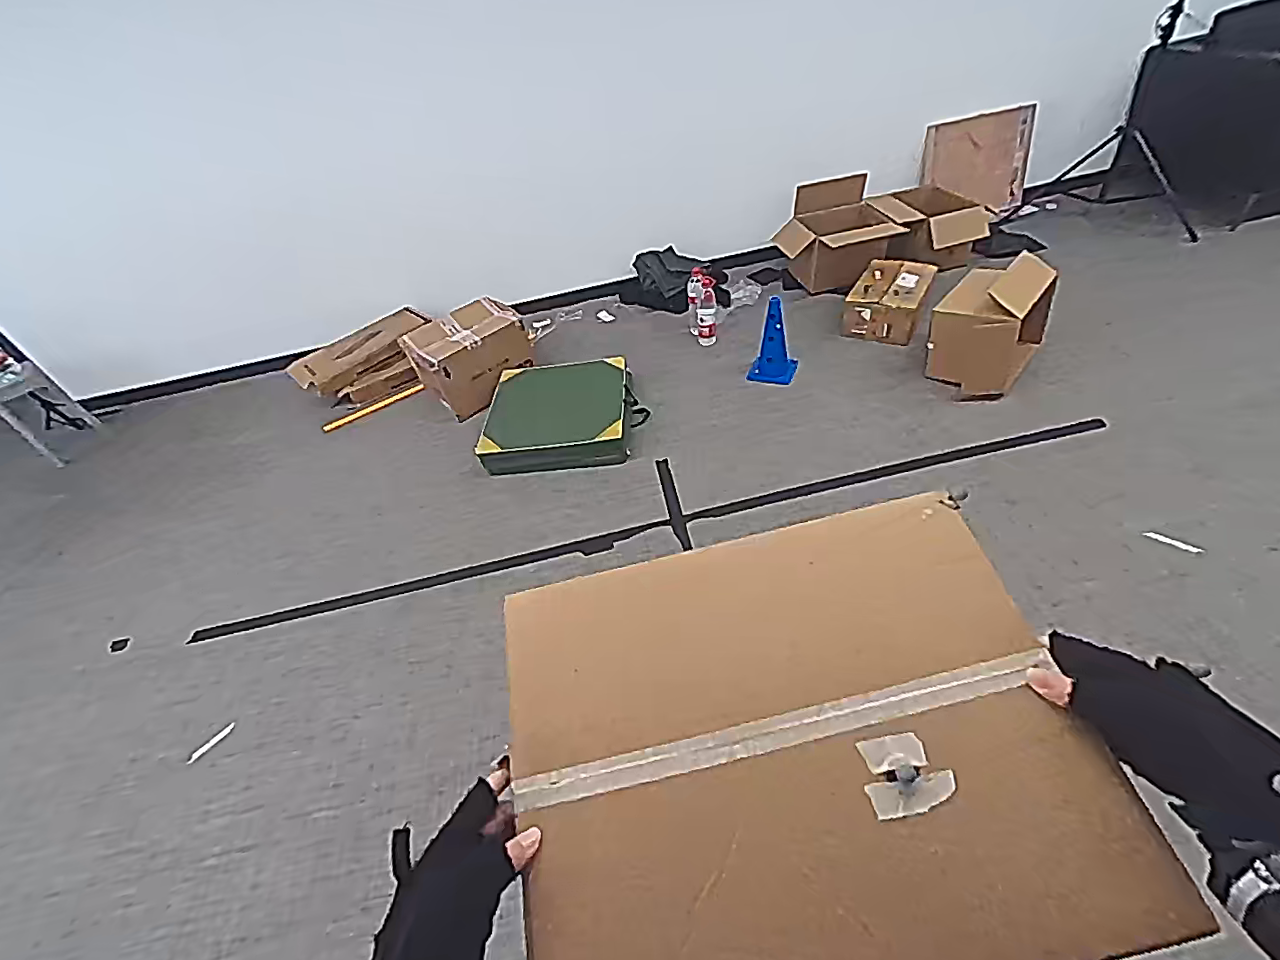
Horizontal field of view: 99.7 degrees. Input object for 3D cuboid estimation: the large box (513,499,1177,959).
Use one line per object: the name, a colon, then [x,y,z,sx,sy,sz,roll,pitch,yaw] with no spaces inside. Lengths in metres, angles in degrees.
large box: [0.126,0.270,0.533,0.408,0.320,0.320,-14,57,-1]
